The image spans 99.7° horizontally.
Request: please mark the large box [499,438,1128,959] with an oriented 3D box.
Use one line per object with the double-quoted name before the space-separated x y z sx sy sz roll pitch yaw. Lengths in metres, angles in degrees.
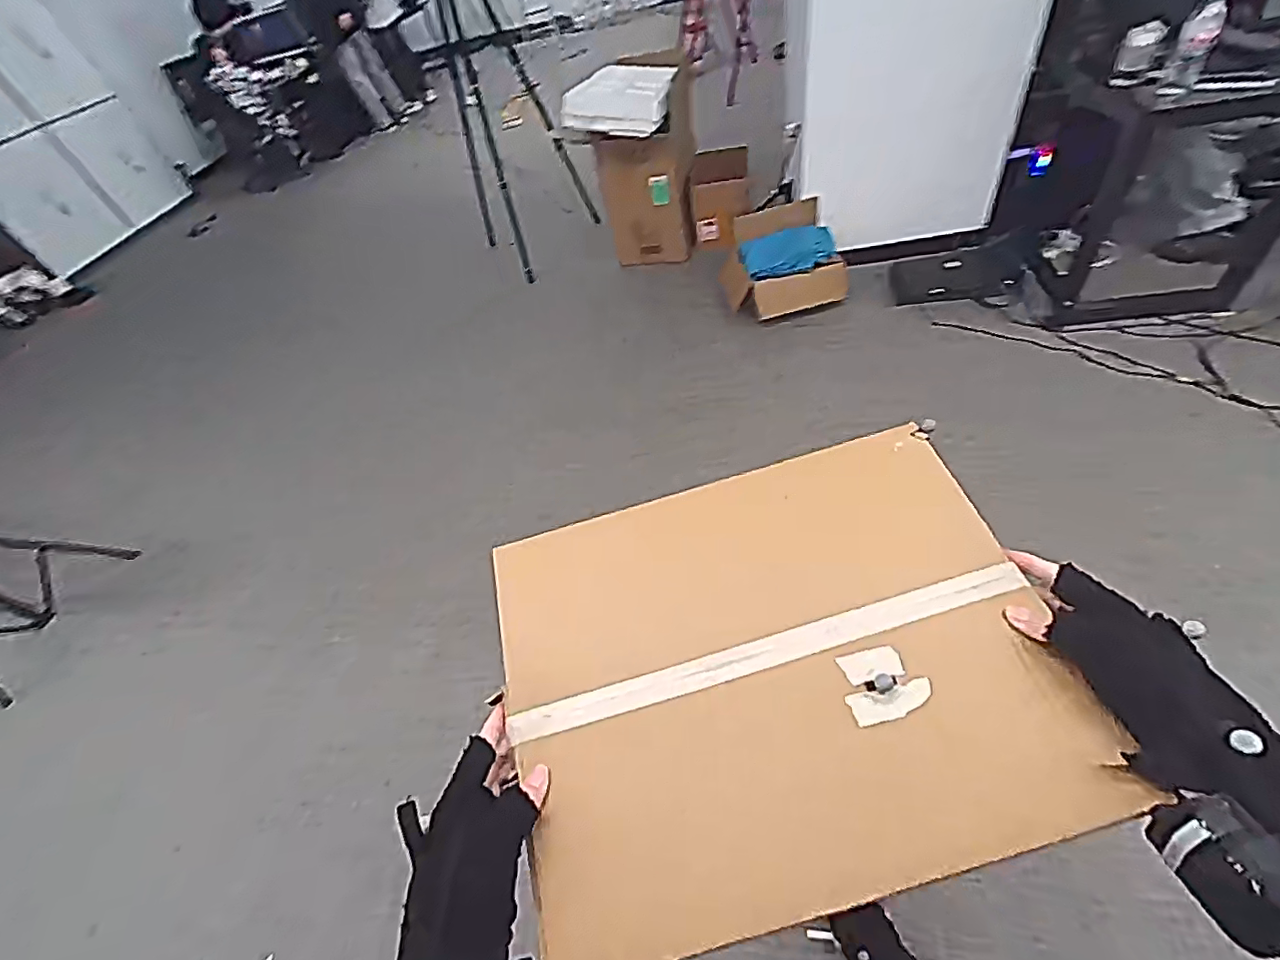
"large box" 0.116 0.219 0.554 0.408 0.320 0.320 -18 58 -1
